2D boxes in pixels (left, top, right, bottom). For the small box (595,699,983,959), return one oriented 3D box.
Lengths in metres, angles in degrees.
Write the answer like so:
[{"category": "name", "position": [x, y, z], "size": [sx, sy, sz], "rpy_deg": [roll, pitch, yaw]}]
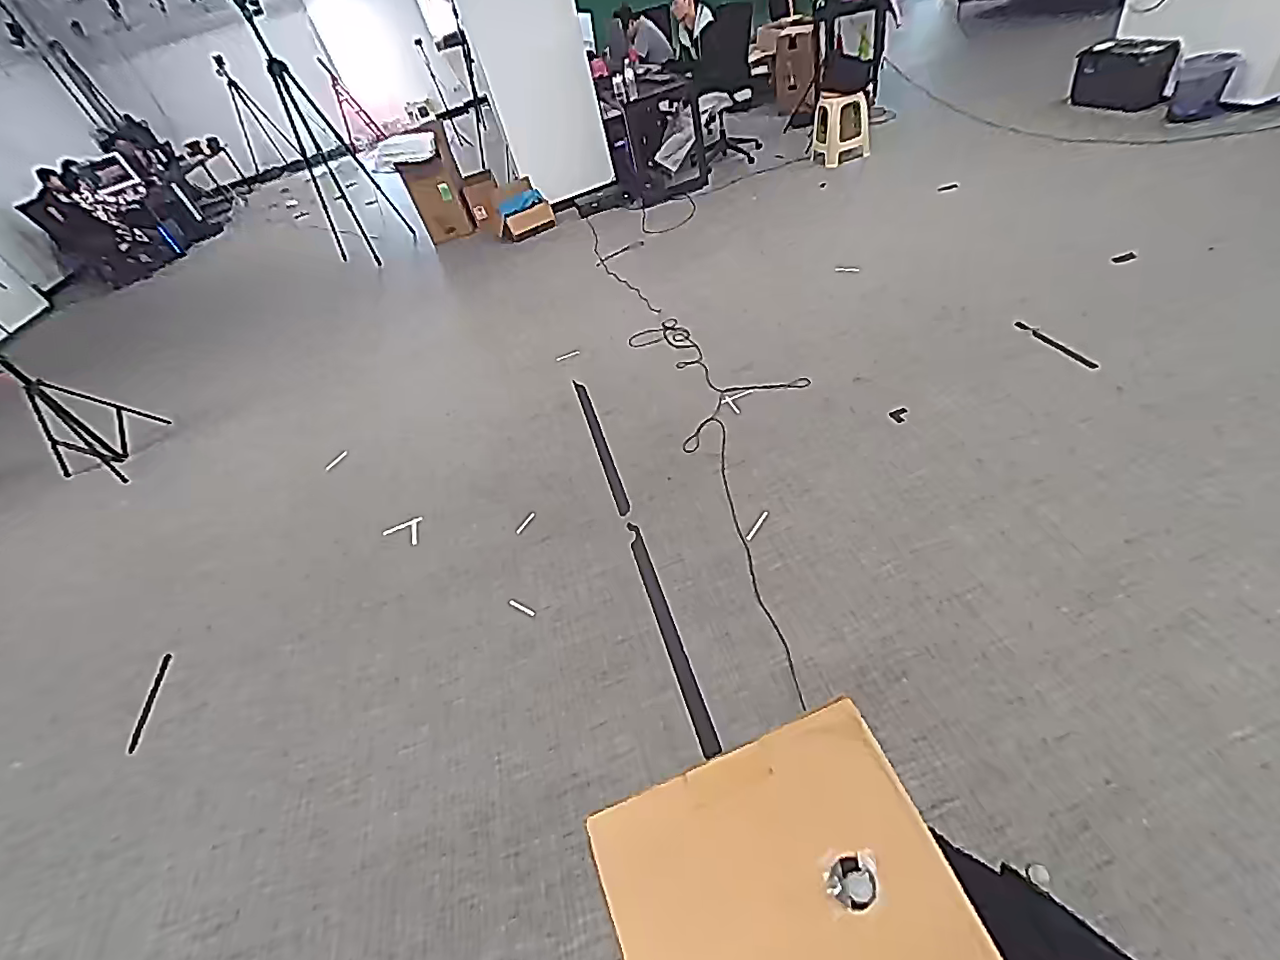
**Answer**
[{"category": "small box", "position": [0.087, 0.266, 0.349], "size": [0.168, 0.179, 0.176], "rpy_deg": [-22, 62, -5]}]
